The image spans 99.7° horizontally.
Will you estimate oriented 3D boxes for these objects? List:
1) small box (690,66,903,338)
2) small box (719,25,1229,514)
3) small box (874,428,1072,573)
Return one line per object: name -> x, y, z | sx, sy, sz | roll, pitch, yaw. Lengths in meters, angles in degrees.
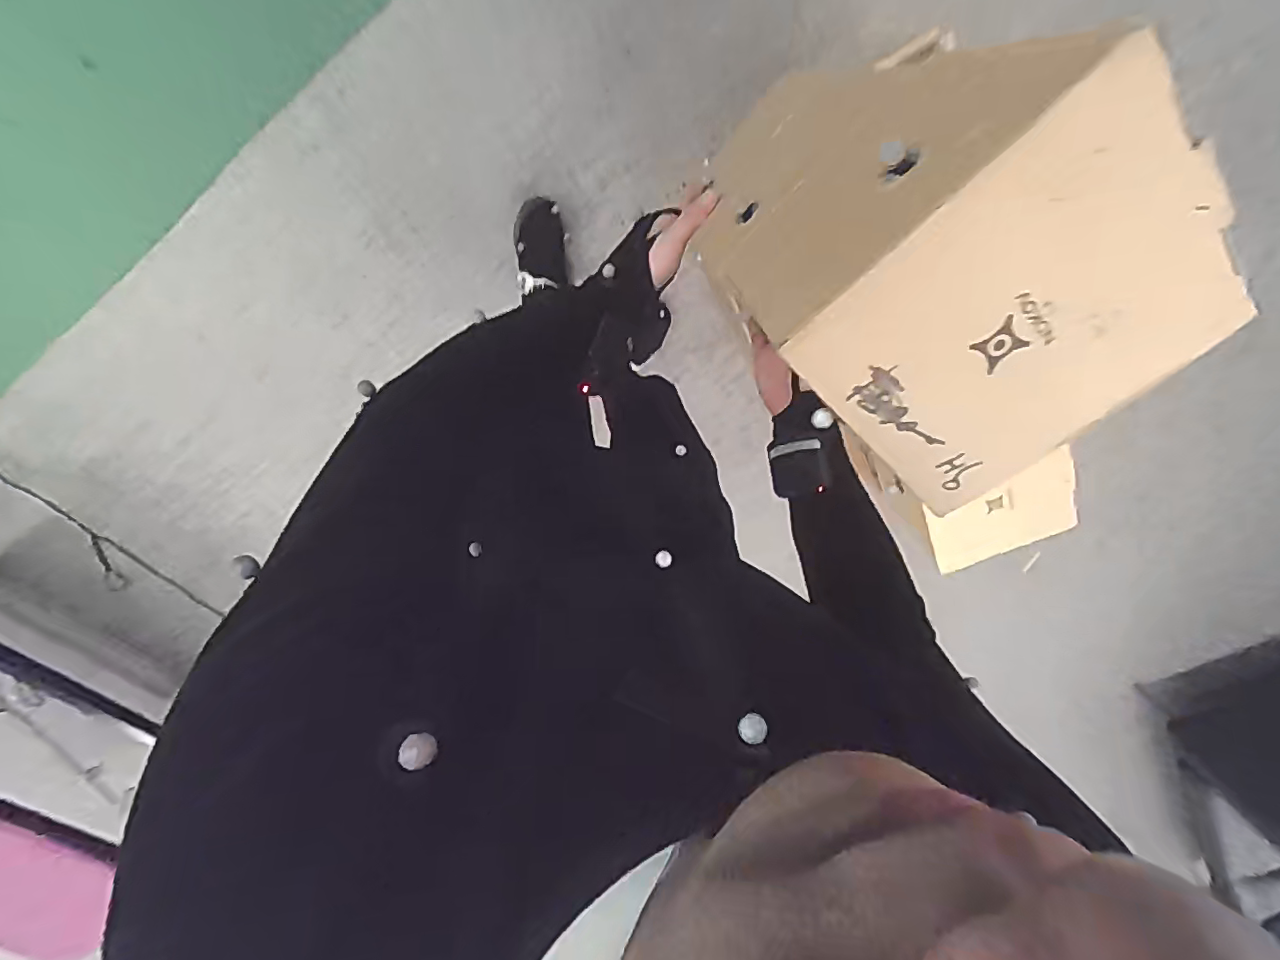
small box -> 0.158, -0.209, 0.469 | 0.168, 0.176, 0.179 | 37, 116, -25
small box -> 0.170, -0.120, 0.332 | 0.168, 0.176, 0.179 | 37, 116, -24
small box -> 0.427, -0.012, 0.729 | 0.179, 0.176, 0.168 | -25, 118, 10
